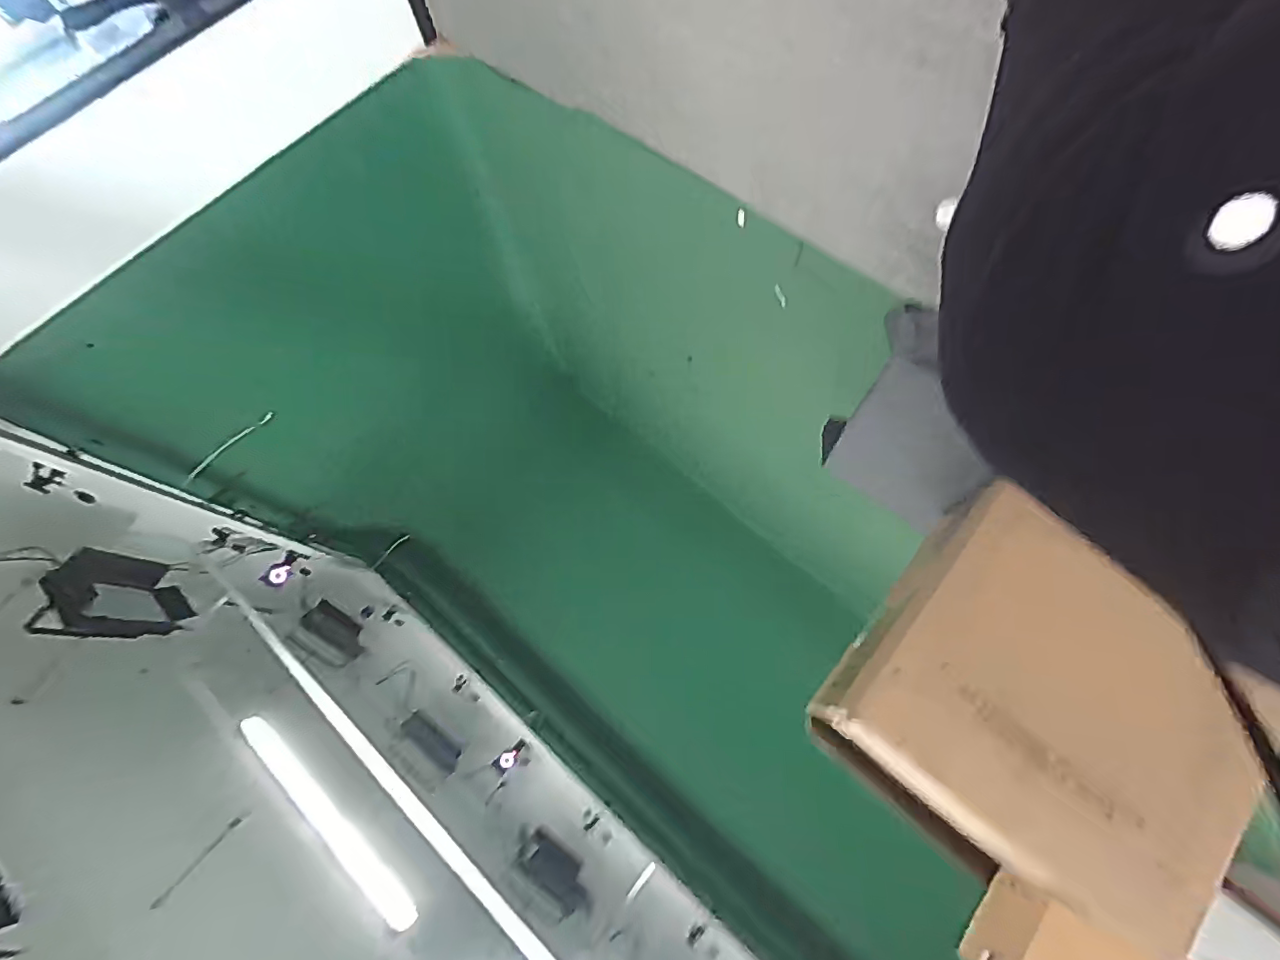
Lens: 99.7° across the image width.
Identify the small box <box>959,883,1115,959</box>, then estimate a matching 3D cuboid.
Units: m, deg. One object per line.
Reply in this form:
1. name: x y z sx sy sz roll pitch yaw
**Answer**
1. small box: 0.651 0.793 0.849 0.179 0.176 0.168 36 163 19
